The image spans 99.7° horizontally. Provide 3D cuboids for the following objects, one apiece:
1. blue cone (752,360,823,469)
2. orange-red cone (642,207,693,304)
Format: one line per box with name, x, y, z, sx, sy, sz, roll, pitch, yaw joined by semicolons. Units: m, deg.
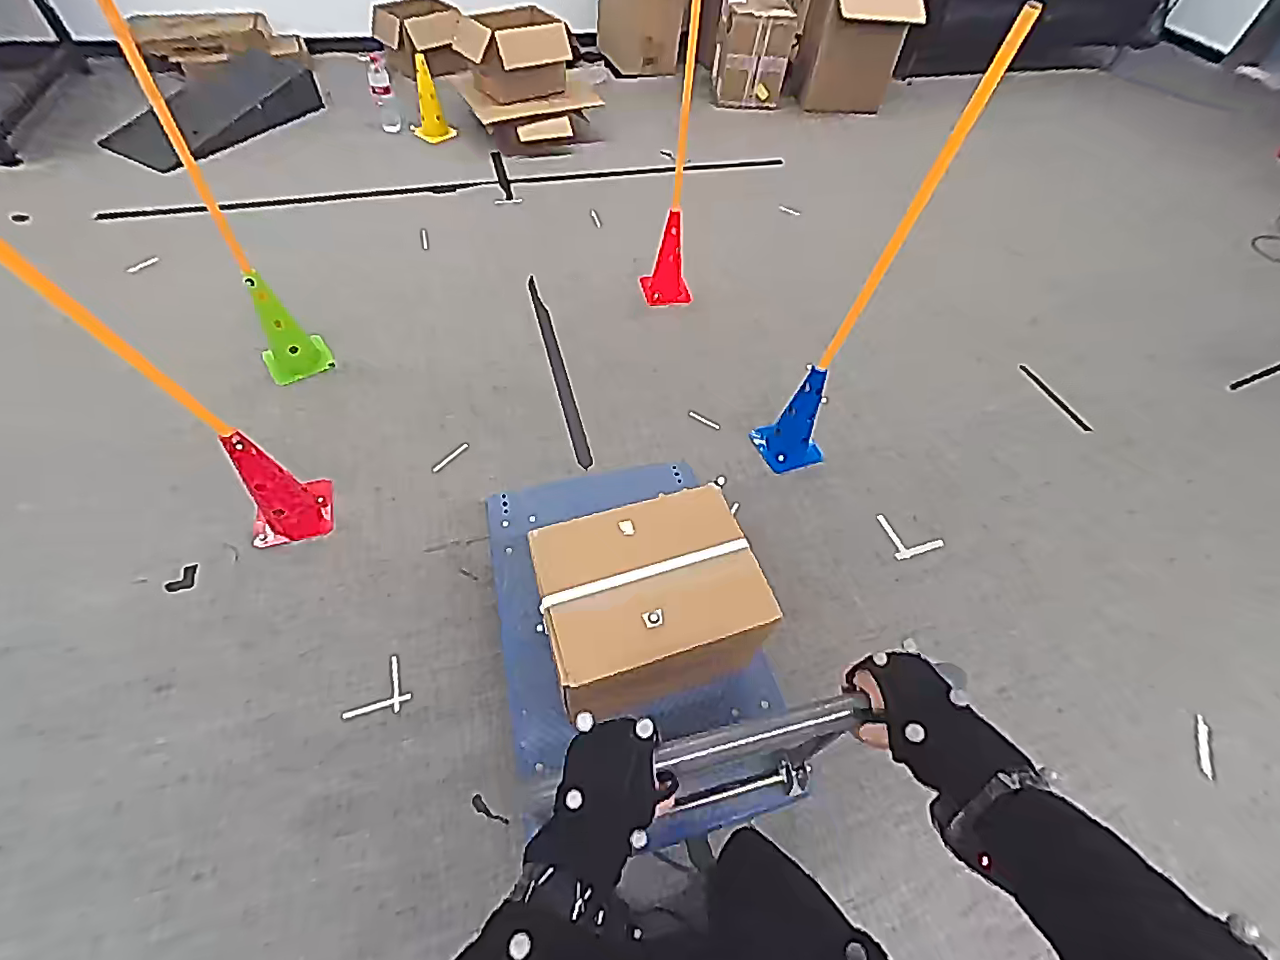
blue cone;0.512;-0.221;1.725;0.193;0.380;0.192;-15;56;-16
orange-red cone;0.129;-0.916;2.173;0.199;0.360;0.198;-6;56;-10
